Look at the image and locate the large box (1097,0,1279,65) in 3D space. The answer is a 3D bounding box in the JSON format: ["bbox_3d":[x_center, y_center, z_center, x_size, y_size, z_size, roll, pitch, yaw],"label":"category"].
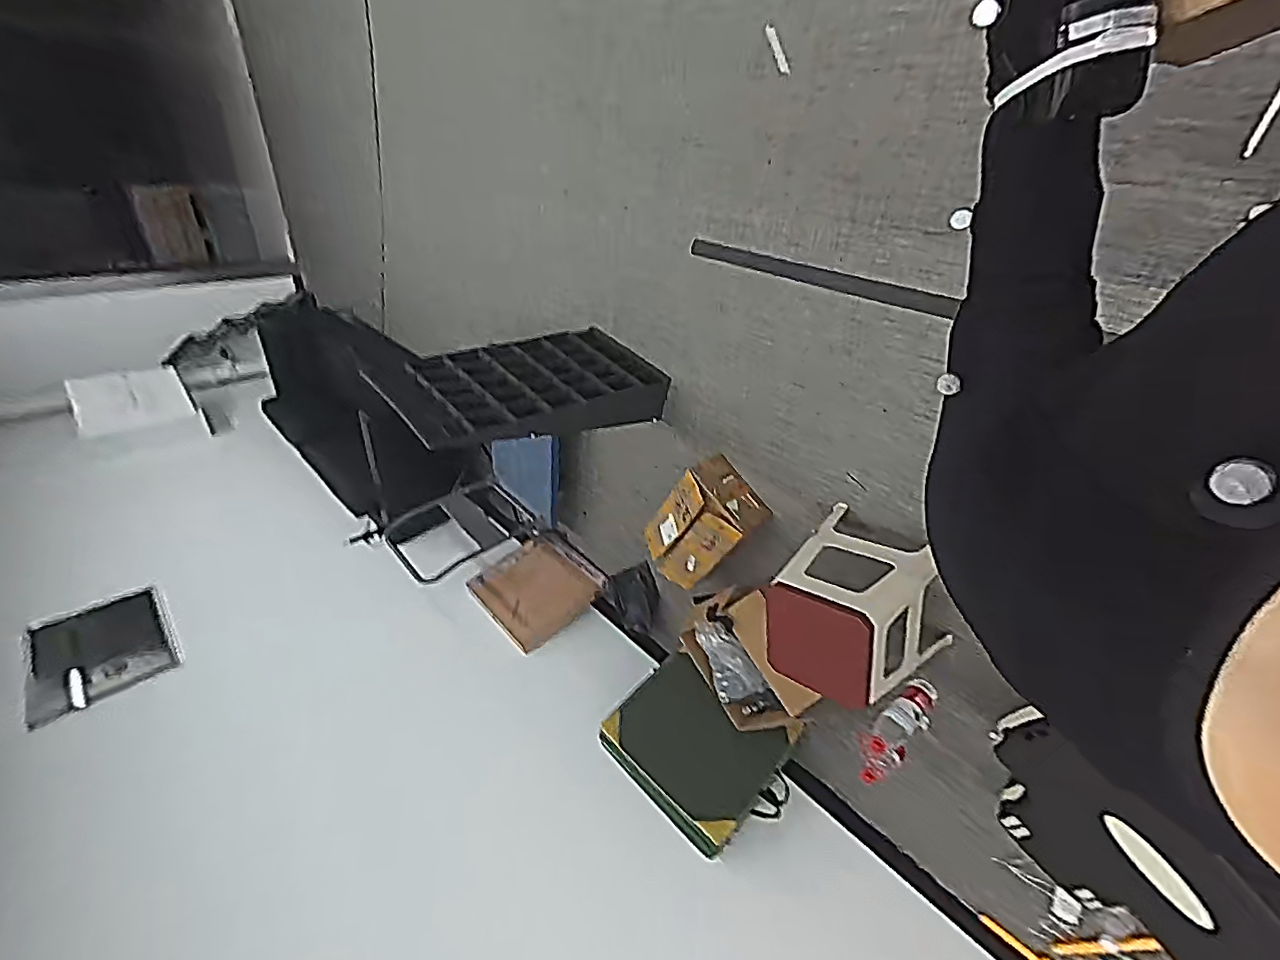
[{"bbox_3d":[0.509,-0.493,0.268,0.408,0.320,0.320,4,117,51],"label":"large box"}]
